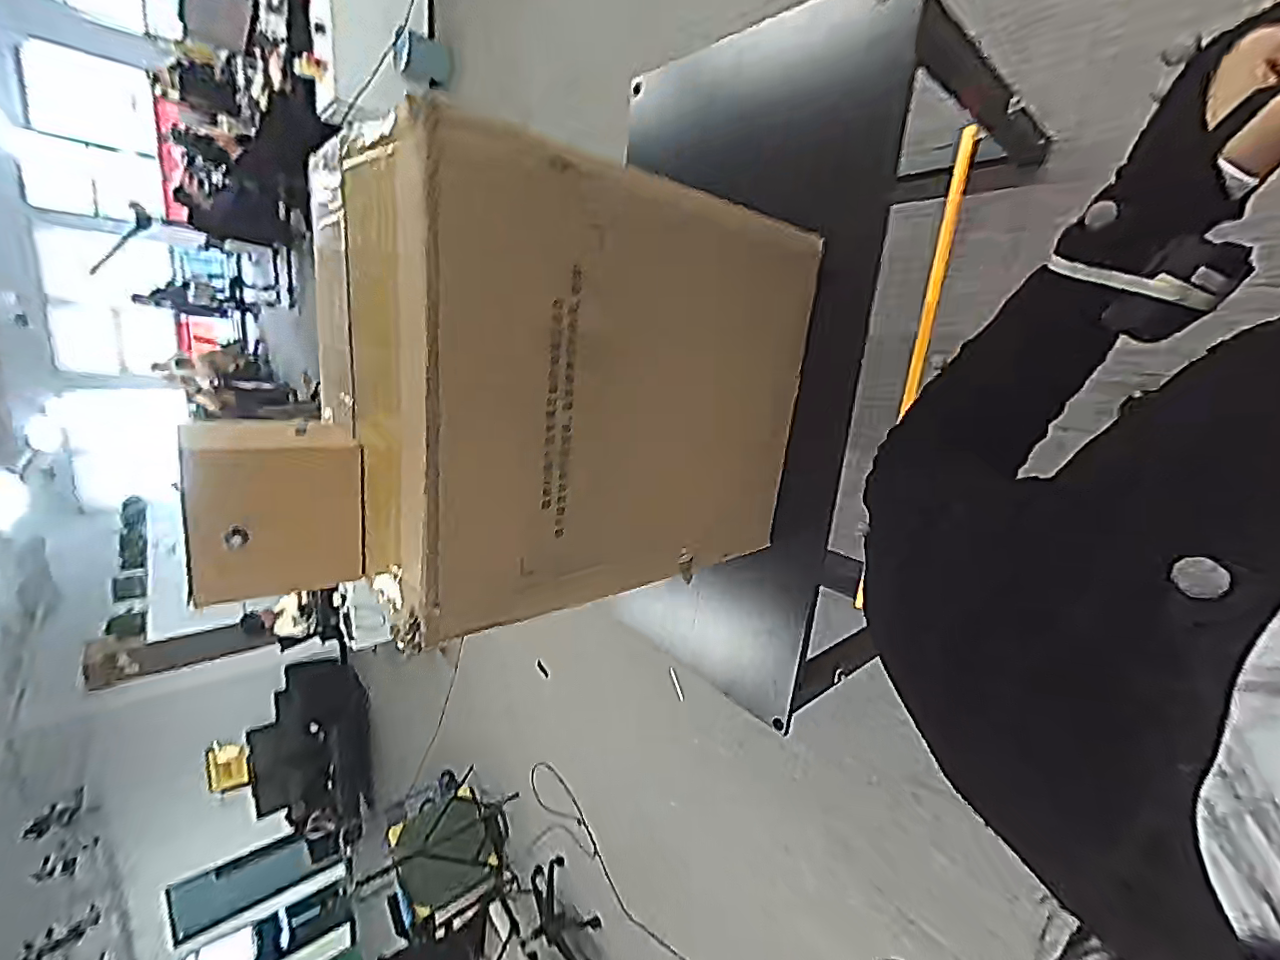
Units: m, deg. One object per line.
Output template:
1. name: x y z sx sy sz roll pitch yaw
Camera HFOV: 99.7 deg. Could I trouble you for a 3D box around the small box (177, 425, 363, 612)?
1. small box: -0.448 0.033 0.662 0.168 0.176 0.179 21 110 47
